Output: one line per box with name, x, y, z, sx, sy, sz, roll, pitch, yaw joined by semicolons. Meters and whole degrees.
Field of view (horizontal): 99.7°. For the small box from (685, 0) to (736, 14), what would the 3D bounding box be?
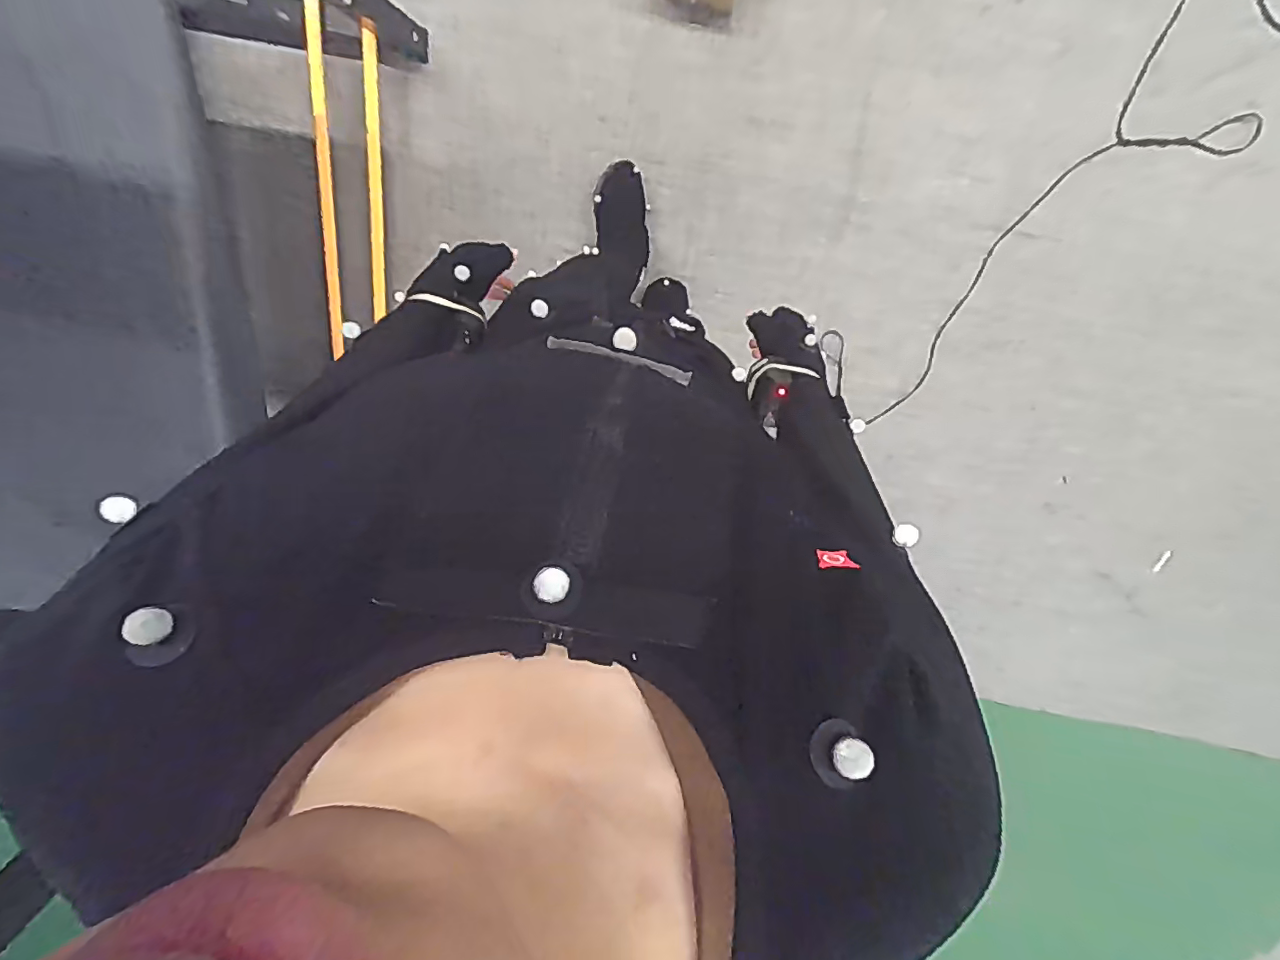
small box;0.127;-1.016;0.995;0.168;0.176;0.179;16;115;-2
